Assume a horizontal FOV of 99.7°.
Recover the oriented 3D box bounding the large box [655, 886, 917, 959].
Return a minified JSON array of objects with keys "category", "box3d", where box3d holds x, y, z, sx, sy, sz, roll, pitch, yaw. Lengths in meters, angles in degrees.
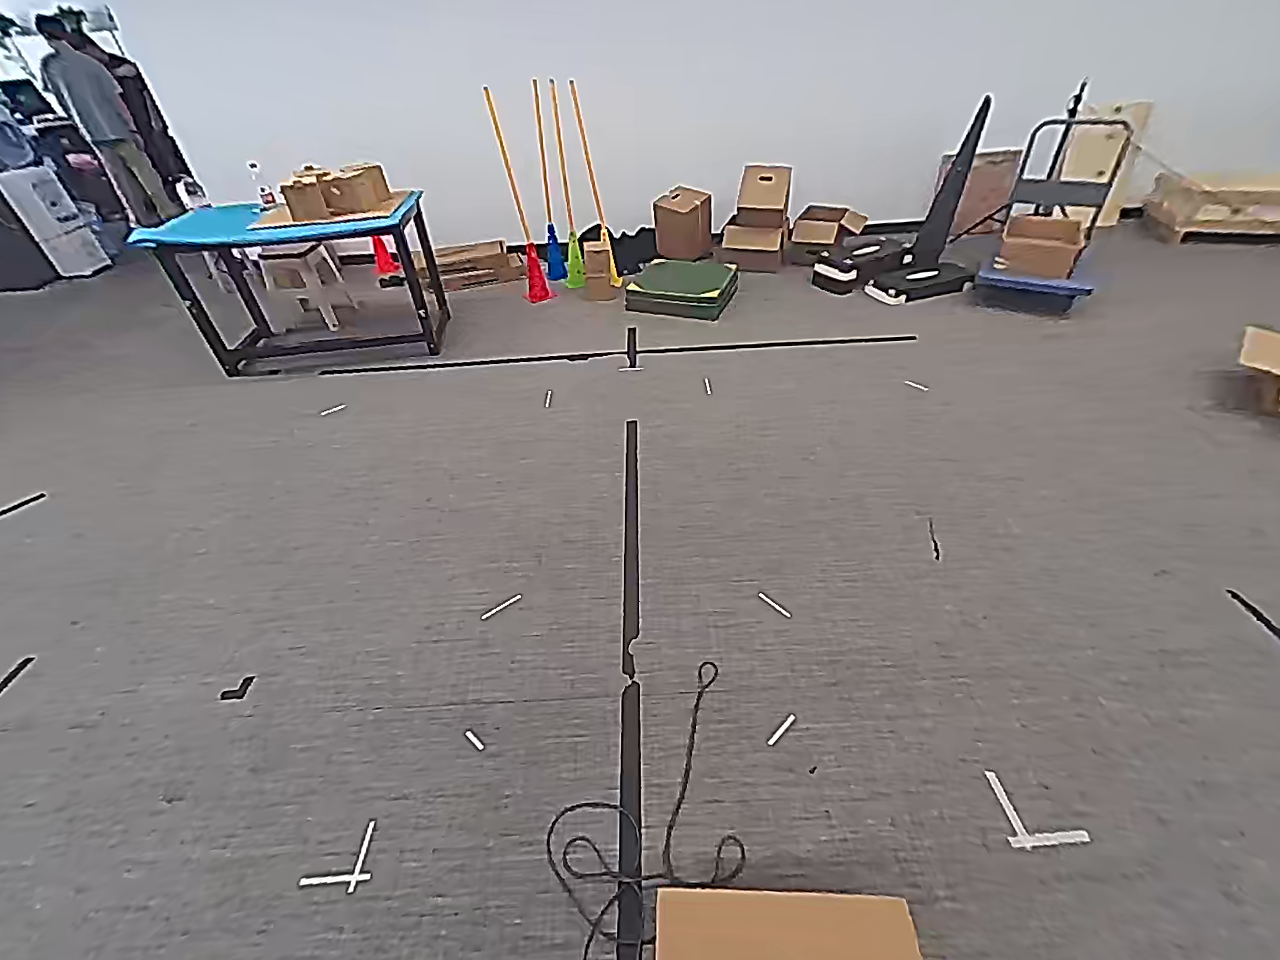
[{"category":"large box","box3d":[0.227,0.892,0.870,0.408,0.320,0.320,0,40,4]}]
